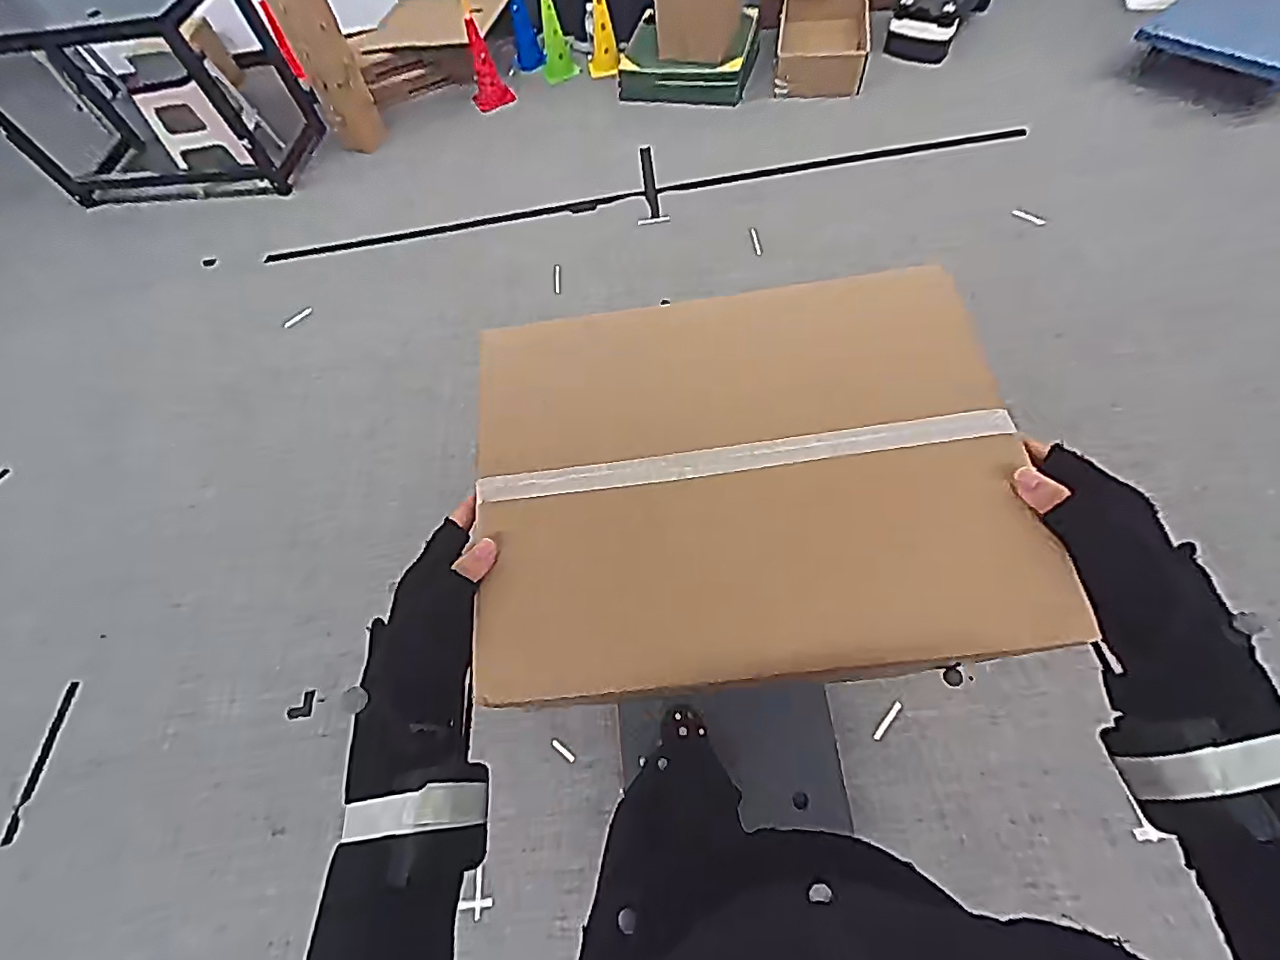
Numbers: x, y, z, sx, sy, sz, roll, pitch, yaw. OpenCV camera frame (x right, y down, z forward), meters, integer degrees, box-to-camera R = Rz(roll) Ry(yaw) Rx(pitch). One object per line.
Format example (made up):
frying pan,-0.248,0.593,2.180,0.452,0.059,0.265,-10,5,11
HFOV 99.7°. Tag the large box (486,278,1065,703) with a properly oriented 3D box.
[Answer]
large box,0.090,0.045,0.562,0.408,0.320,0.320,-8,66,4
